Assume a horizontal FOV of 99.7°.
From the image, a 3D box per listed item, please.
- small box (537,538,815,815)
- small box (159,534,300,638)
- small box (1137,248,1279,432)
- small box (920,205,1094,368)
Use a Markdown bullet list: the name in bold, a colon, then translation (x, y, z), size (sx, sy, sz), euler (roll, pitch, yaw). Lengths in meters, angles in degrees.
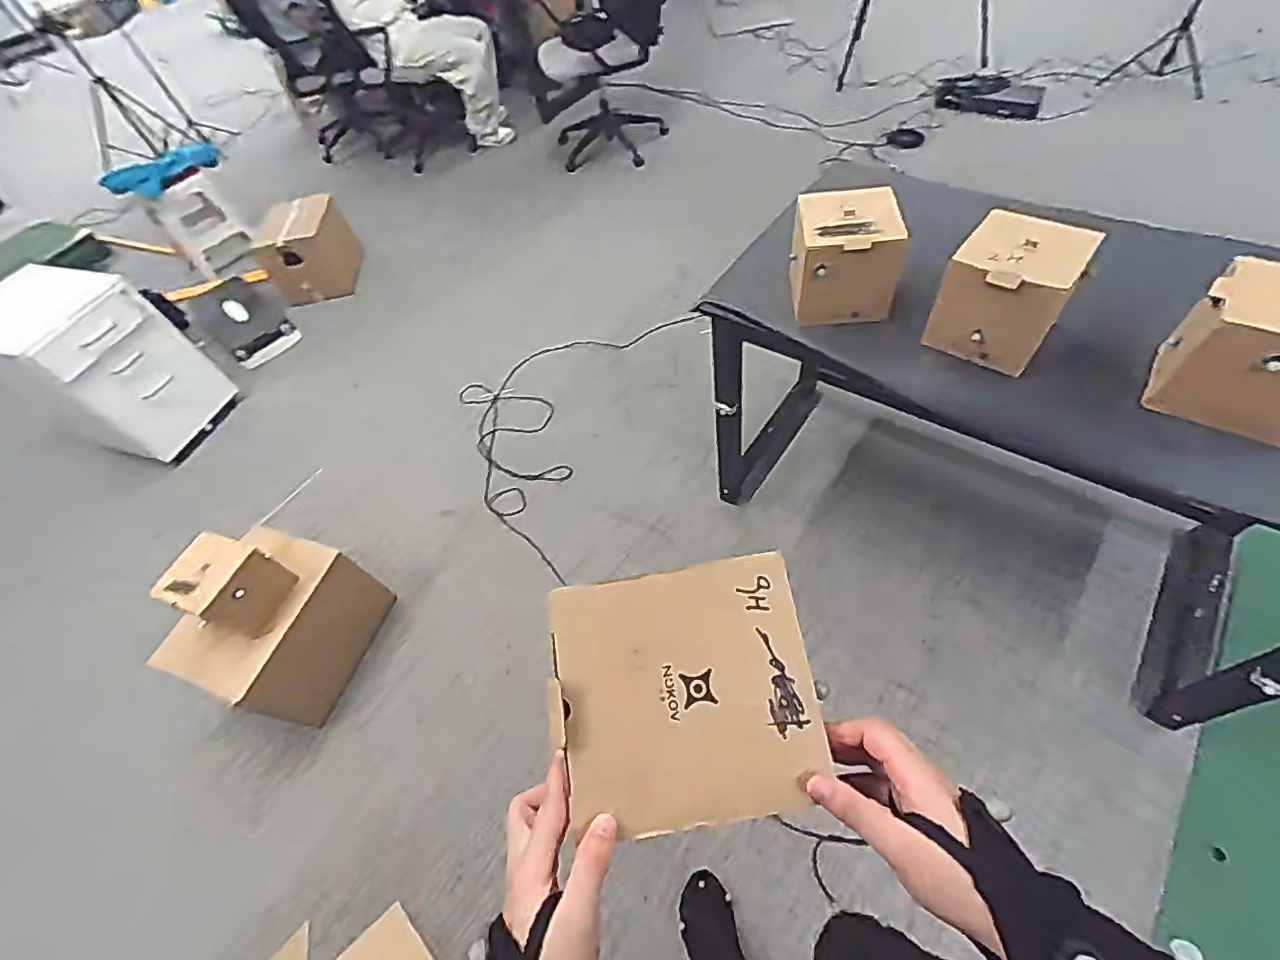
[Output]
- **small box**: translation (0.024, 0.156, 0.453), size (0.179, 0.176, 0.168), euler (-9, 73, 0)
- **small box**: translation (-0.979, 0.261, 1.310), size (0.168, 0.176, 0.179), euler (12, 58, 16)
- **small box**: translation (0.871, -0.193, 0.766), size (0.179, 0.176, 0.168), euler (27, 63, 27)
- **small box**: translation (0.601, -0.323, 0.907), size (0.168, 0.176, 0.179), euler (31, 65, 28)
